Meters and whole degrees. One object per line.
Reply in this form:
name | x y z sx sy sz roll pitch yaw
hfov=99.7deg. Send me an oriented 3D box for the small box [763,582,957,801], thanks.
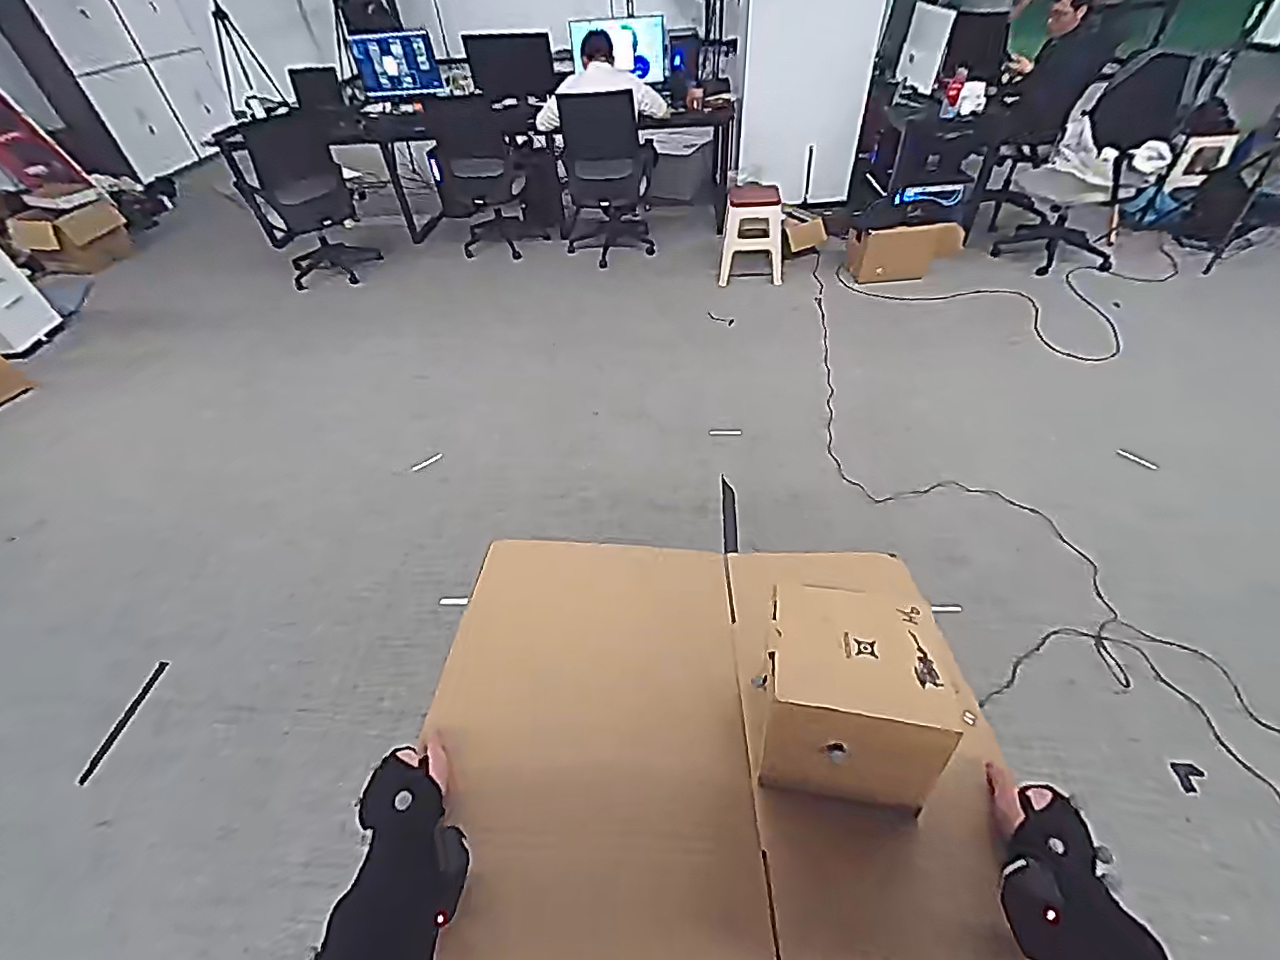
small box | 0.239 0.244 0.634 0.179 0.176 0.168 4 37 12
